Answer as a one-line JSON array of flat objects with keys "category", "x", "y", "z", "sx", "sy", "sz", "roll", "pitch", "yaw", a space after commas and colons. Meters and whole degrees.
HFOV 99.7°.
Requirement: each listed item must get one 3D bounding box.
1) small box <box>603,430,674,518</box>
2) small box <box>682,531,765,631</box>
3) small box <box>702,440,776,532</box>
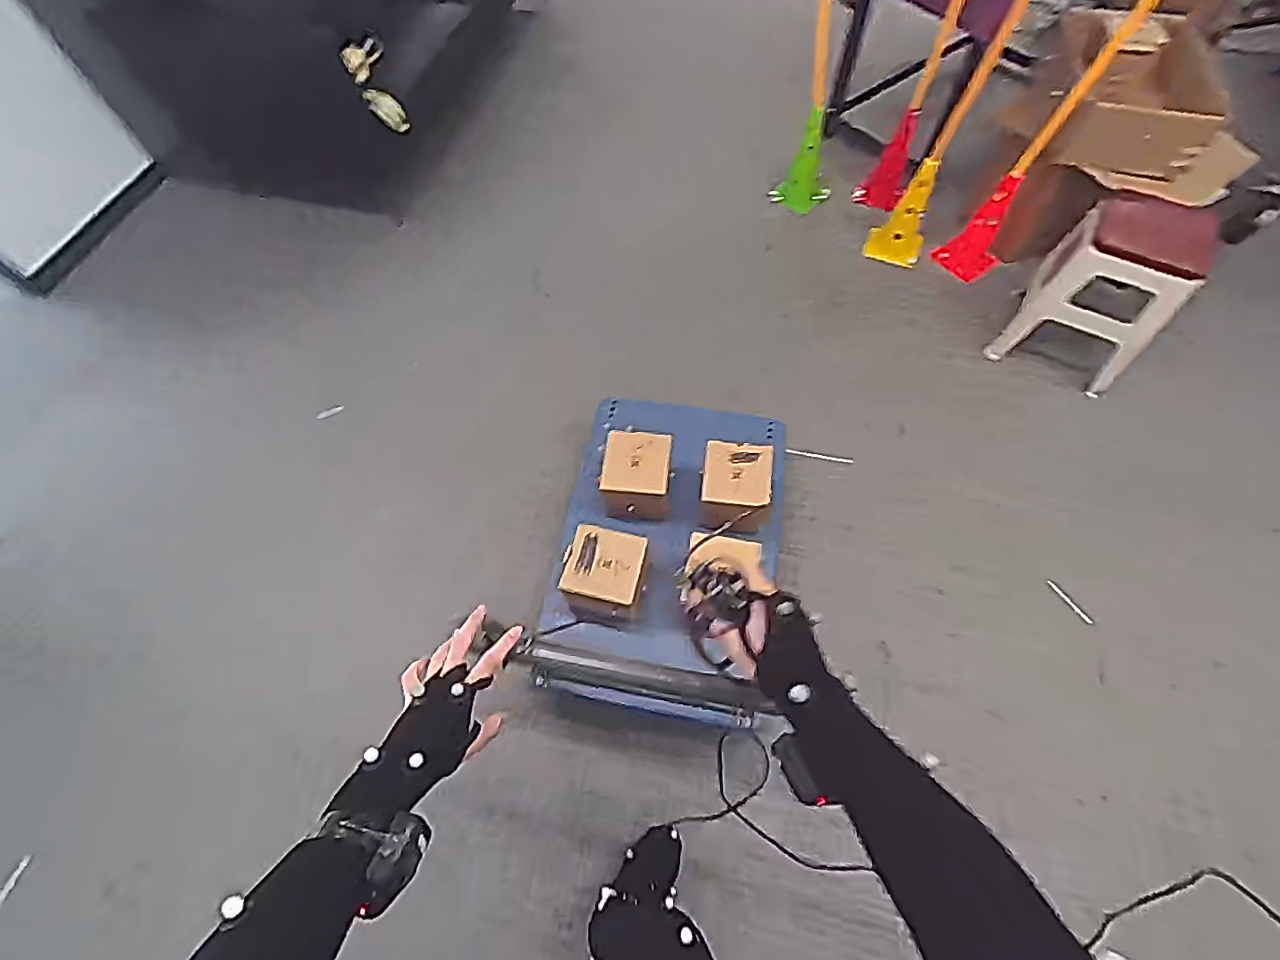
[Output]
[{"category": "small box", "x": 0.001, "y": -0.012, "z": 1.448, "sx": 0.168, "sy": 0.176, "sz": 0.179, "roll": 6, "pitch": 63, "yaw": 5}, {"category": "small box", "x": 0.196, "y": 0.247, "z": 1.304, "sx": 0.168, "sy": 0.176, "sz": 0.179, "roll": 10, "pitch": 64, "yaw": 8}, {"category": "small box", "x": 0.255, "y": 0.018, "z": 1.420, "sx": 0.168, "sy": 0.176, "sz": 0.179, "roll": 7, "pitch": 64, "yaw": 7}]
